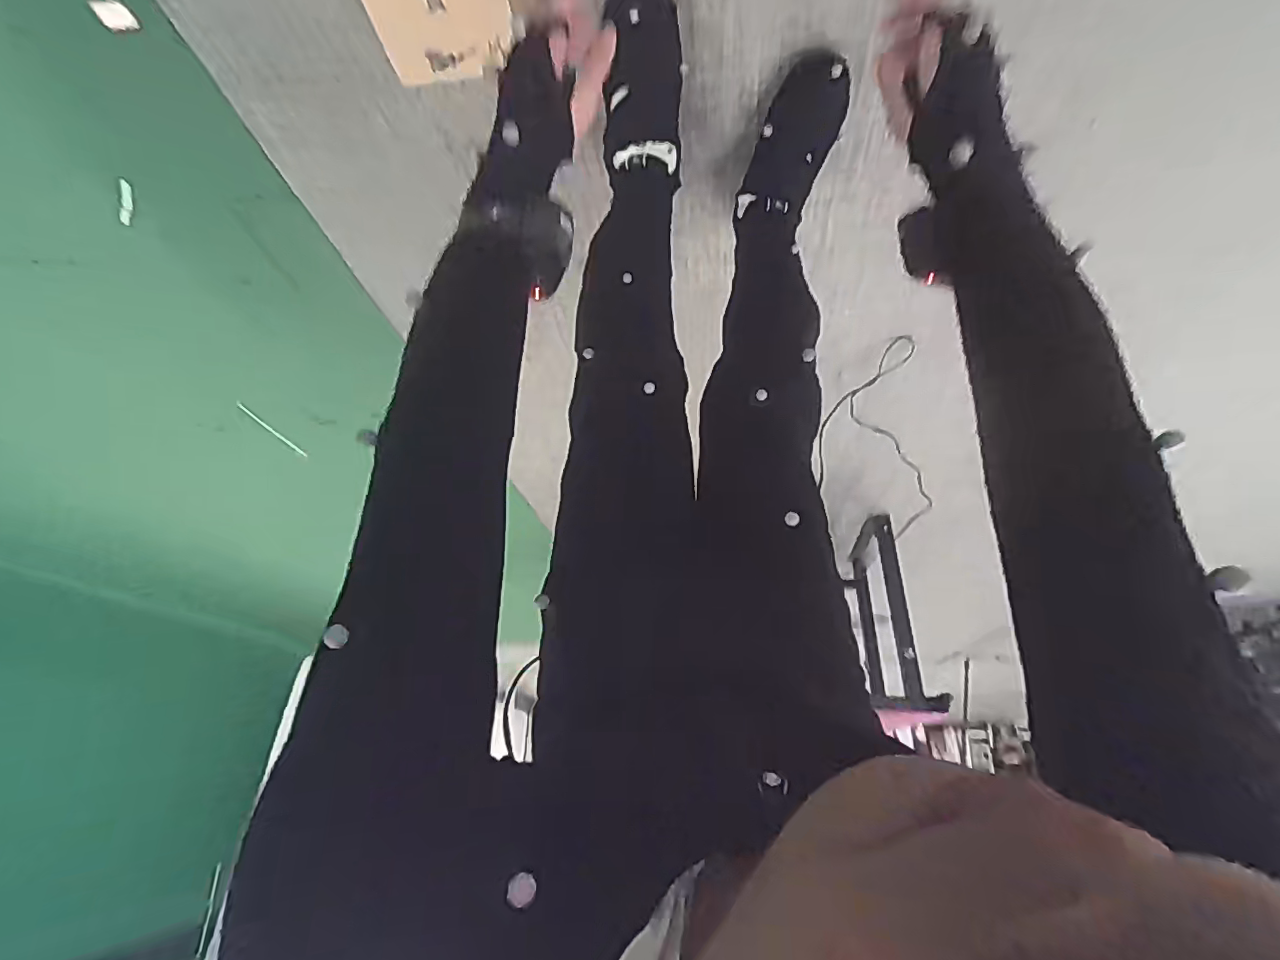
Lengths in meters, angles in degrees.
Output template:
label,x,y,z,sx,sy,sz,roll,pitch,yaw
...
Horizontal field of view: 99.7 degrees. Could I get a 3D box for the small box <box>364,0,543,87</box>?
label,x,y,z,sx,sy,sz,roll,pitch,yaw
small box,-0.222,-0.605,0.630,0.168,0.176,0.179,-1,151,8
